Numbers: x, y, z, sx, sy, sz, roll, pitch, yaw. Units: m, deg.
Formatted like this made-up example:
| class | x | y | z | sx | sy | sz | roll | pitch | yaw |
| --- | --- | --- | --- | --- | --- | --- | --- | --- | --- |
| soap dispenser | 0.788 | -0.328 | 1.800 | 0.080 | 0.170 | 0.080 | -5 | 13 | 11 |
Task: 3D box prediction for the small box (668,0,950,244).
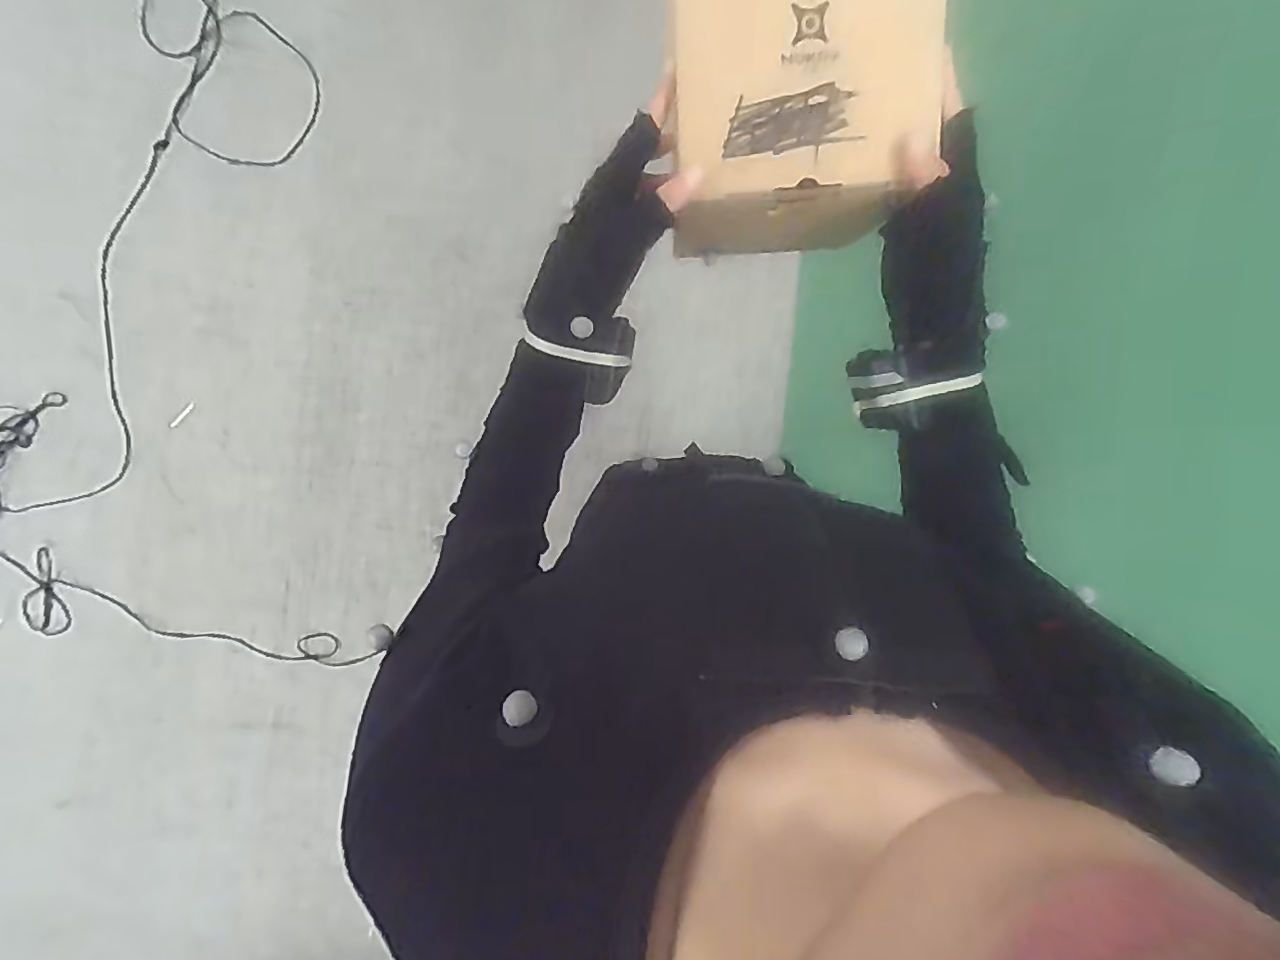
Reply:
| class | x | y | z | sx | sy | sz | roll | pitch | yaw |
| --- | --- | --- | --- | --- | --- | --- | --- | --- | --- |
| small box | 0.106 | -0.286 | 0.405 | 0.168 | 0.176 | 0.179 | -2 | 99 | 2 |
